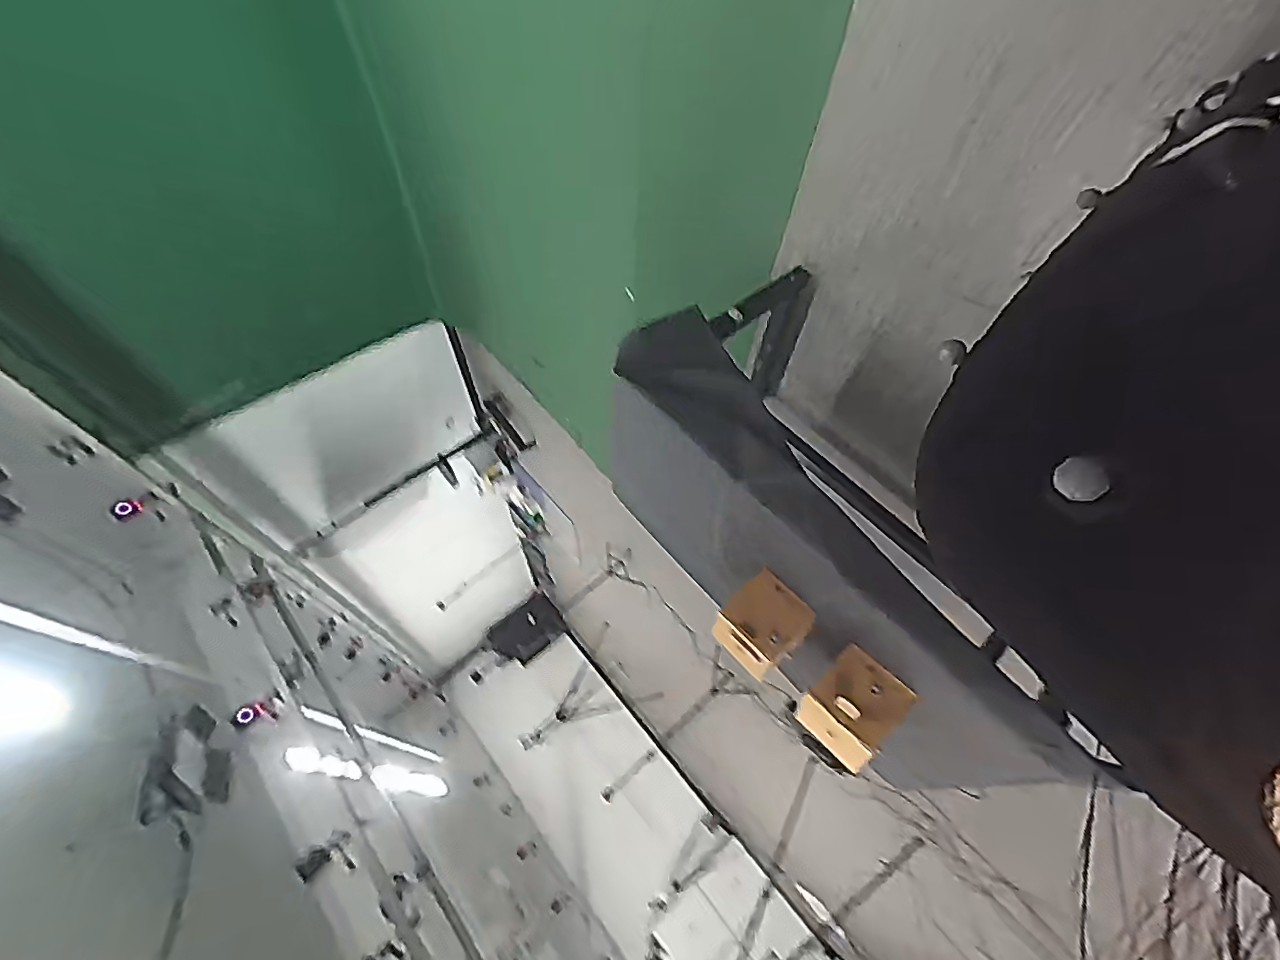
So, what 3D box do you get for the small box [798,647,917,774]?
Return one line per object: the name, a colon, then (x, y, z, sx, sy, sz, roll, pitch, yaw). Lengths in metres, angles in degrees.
small box: (0.480, 0.509, 1.201, 0.168, 0.176, 0.179, 40, 153, 33)
